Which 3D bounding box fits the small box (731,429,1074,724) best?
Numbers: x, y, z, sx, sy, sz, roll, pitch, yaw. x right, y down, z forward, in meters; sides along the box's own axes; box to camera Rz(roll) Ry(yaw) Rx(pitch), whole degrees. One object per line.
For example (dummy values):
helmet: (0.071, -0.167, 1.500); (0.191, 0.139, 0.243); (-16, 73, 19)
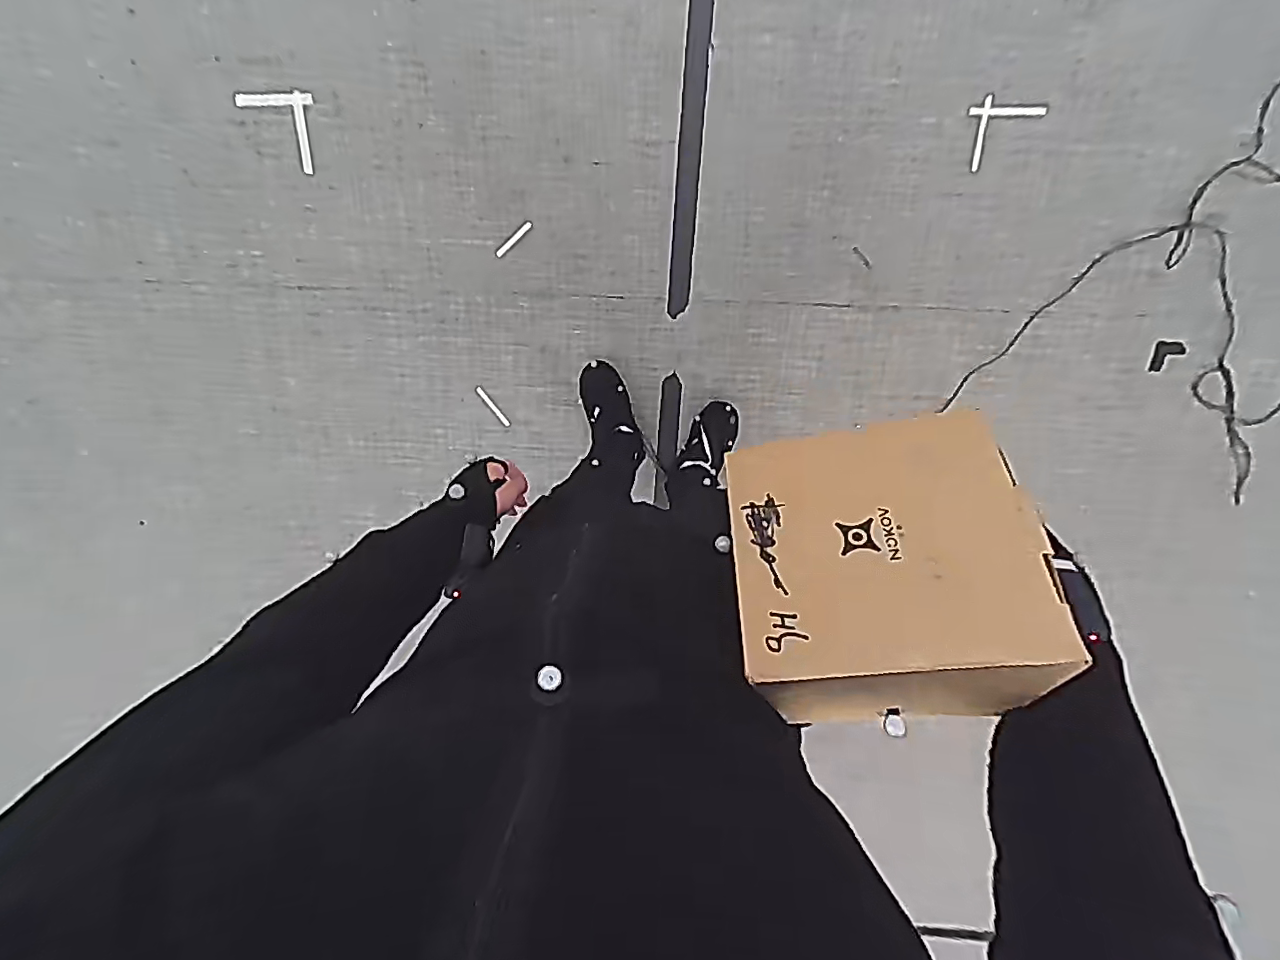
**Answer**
small box: (0.173, 0.086, 0.415); (0.179, 0.168, 0.176); (-9, 146, 15)
